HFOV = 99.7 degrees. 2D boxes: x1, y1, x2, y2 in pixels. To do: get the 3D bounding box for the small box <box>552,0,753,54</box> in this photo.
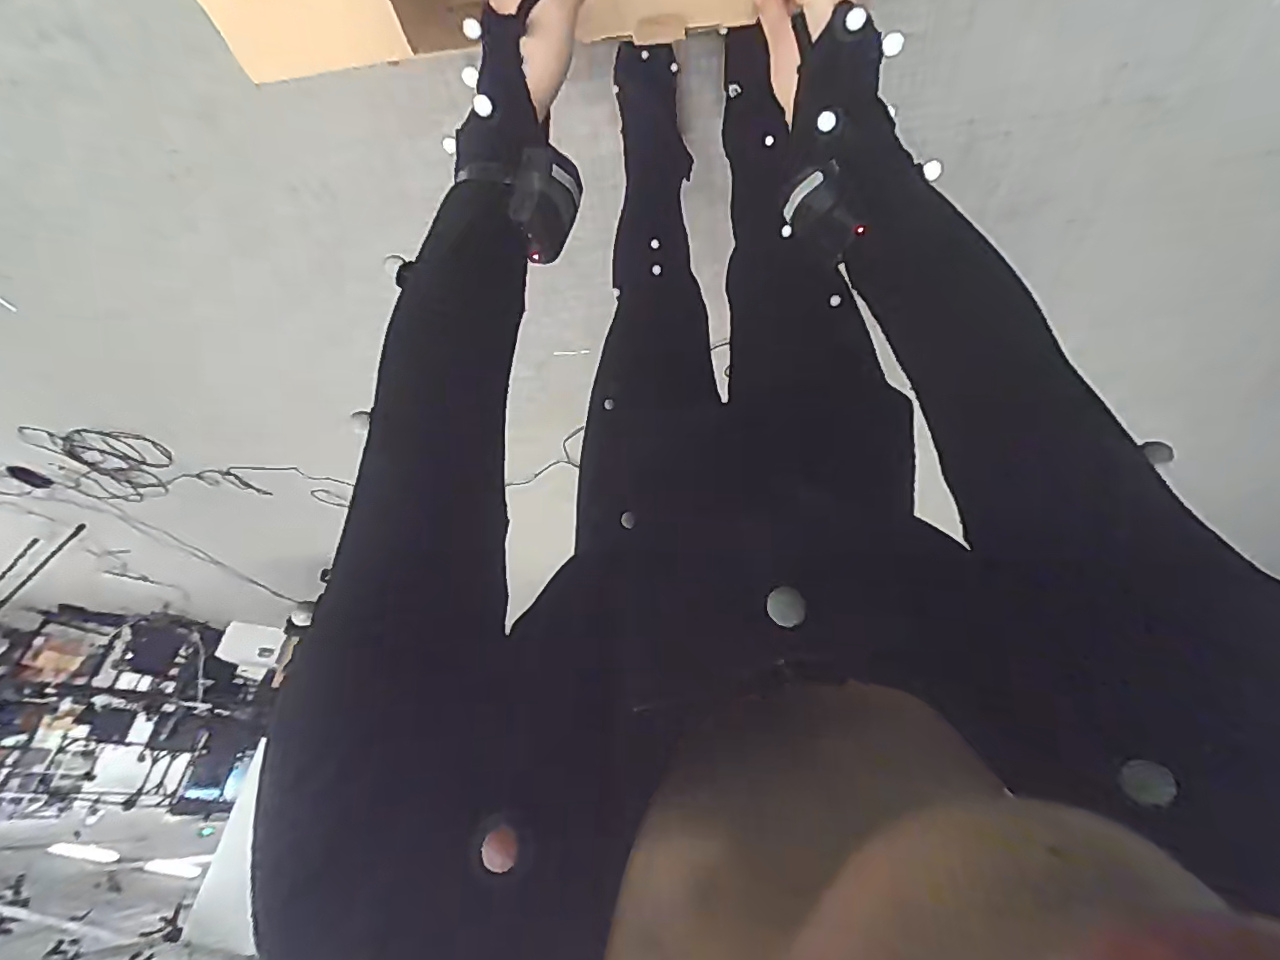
[{"bbox_3d":[0.011,-0.480,0.418,0.168,0.176,0.179,2,154,10],"label":"small box"}]
